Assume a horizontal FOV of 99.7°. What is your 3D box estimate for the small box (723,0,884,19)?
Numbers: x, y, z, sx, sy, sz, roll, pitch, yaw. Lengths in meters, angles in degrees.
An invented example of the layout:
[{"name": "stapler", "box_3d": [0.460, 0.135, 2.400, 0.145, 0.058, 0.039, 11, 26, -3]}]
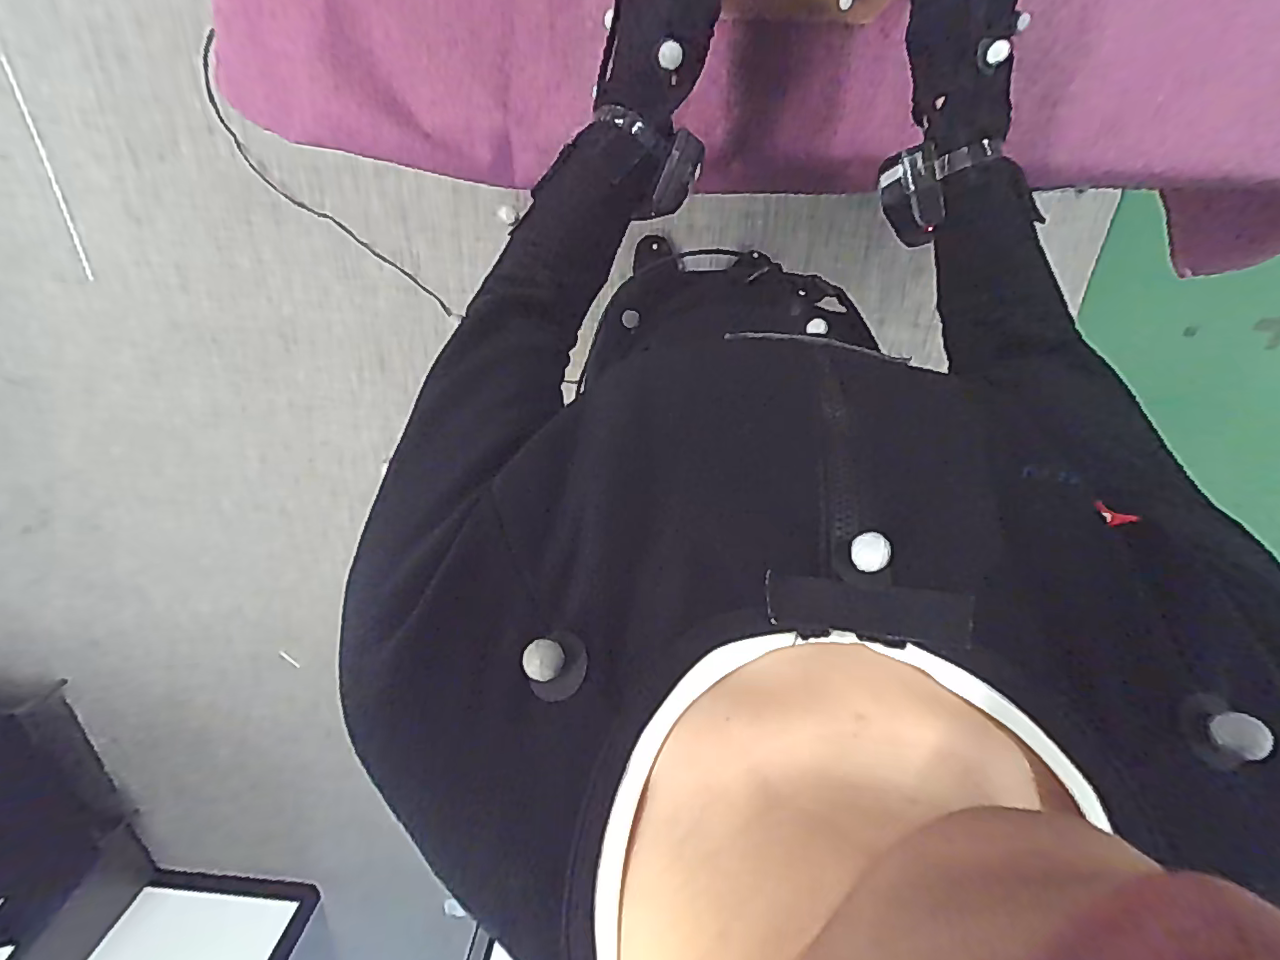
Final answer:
[{"name": "small box", "box_3d": [0.146, -0.497, 0.422, 0.168, 0.176, 0.179, 5, 115, 2]}]
